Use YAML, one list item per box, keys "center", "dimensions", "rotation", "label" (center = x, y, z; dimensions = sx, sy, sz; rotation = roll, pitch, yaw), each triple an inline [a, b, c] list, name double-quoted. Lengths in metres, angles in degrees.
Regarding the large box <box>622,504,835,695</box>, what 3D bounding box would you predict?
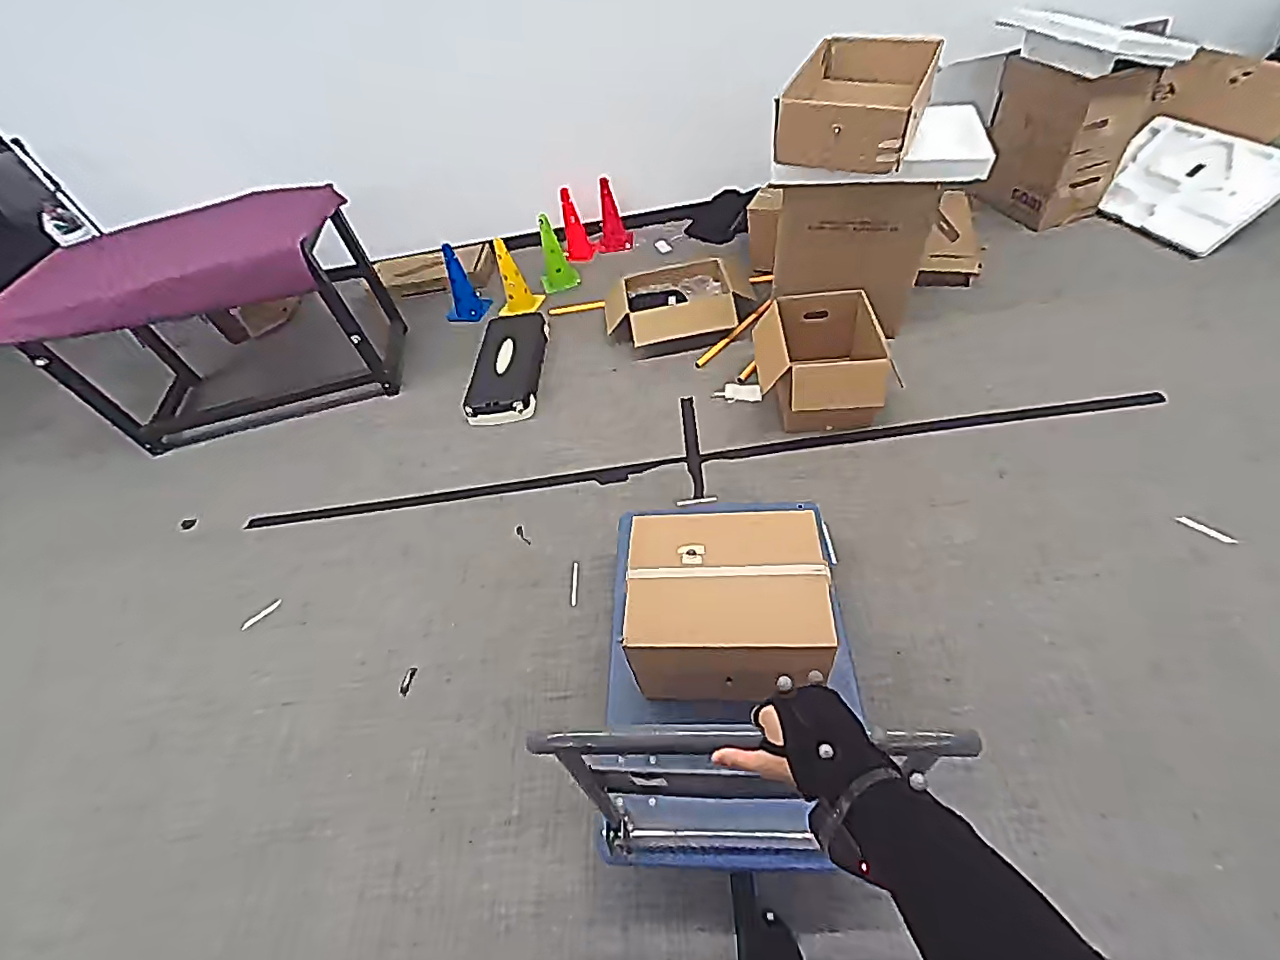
- center: [0.193, 0.279, 1.219]
  dimensions: [0.408, 0.320, 0.320]
  rotation: [-4, 49, 9]
  label: "large box"
